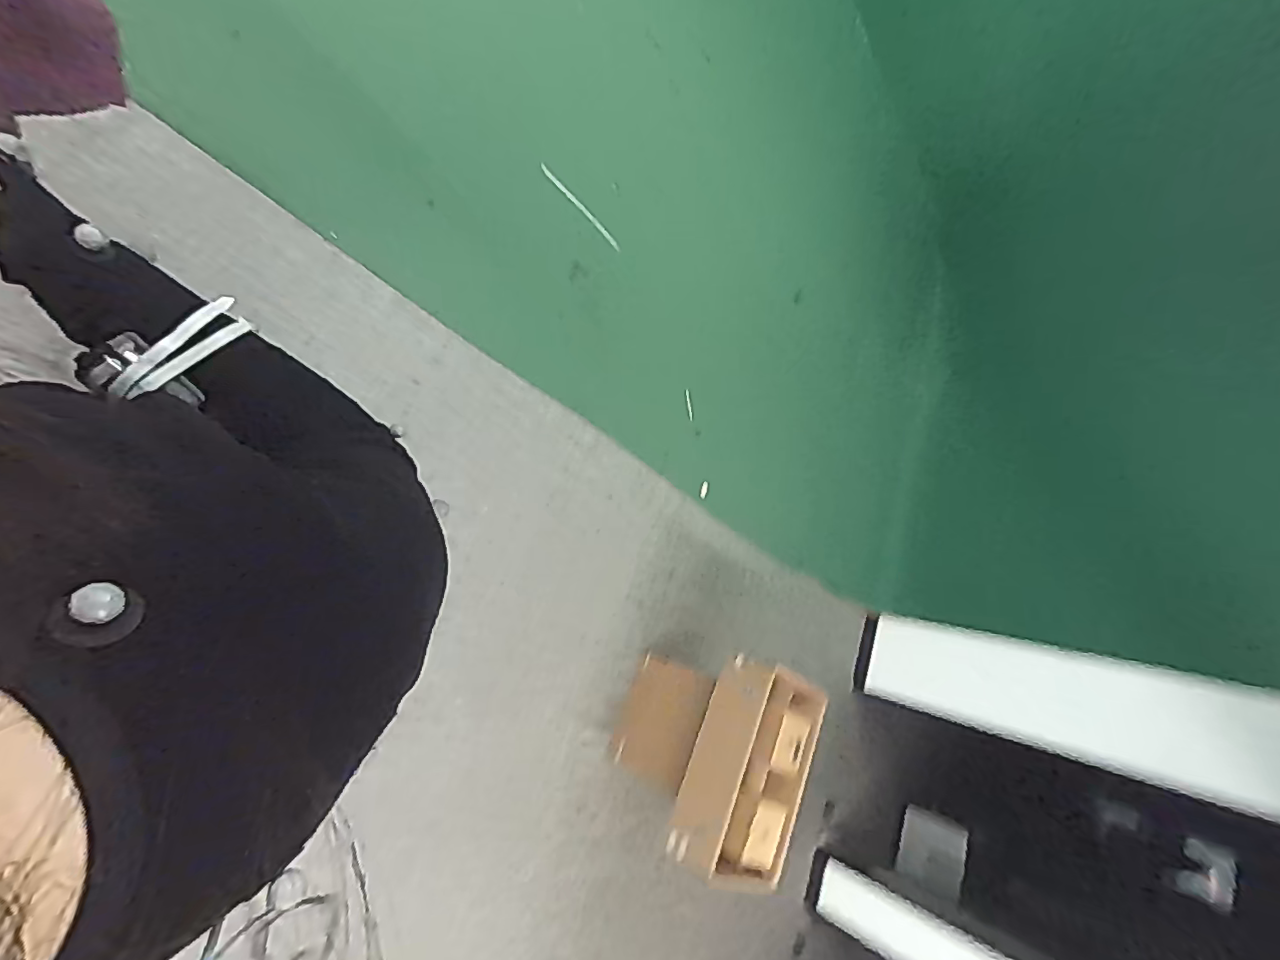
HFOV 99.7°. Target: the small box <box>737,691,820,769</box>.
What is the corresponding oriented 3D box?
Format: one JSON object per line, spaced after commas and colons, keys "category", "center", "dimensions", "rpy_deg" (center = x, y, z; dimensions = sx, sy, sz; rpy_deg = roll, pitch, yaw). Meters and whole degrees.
{"category": "small box", "center": [0.446, 0.802, 1.748], "dimensions": [0.179, 0.176, 0.168], "rpy_deg": [36, 68, -35]}
